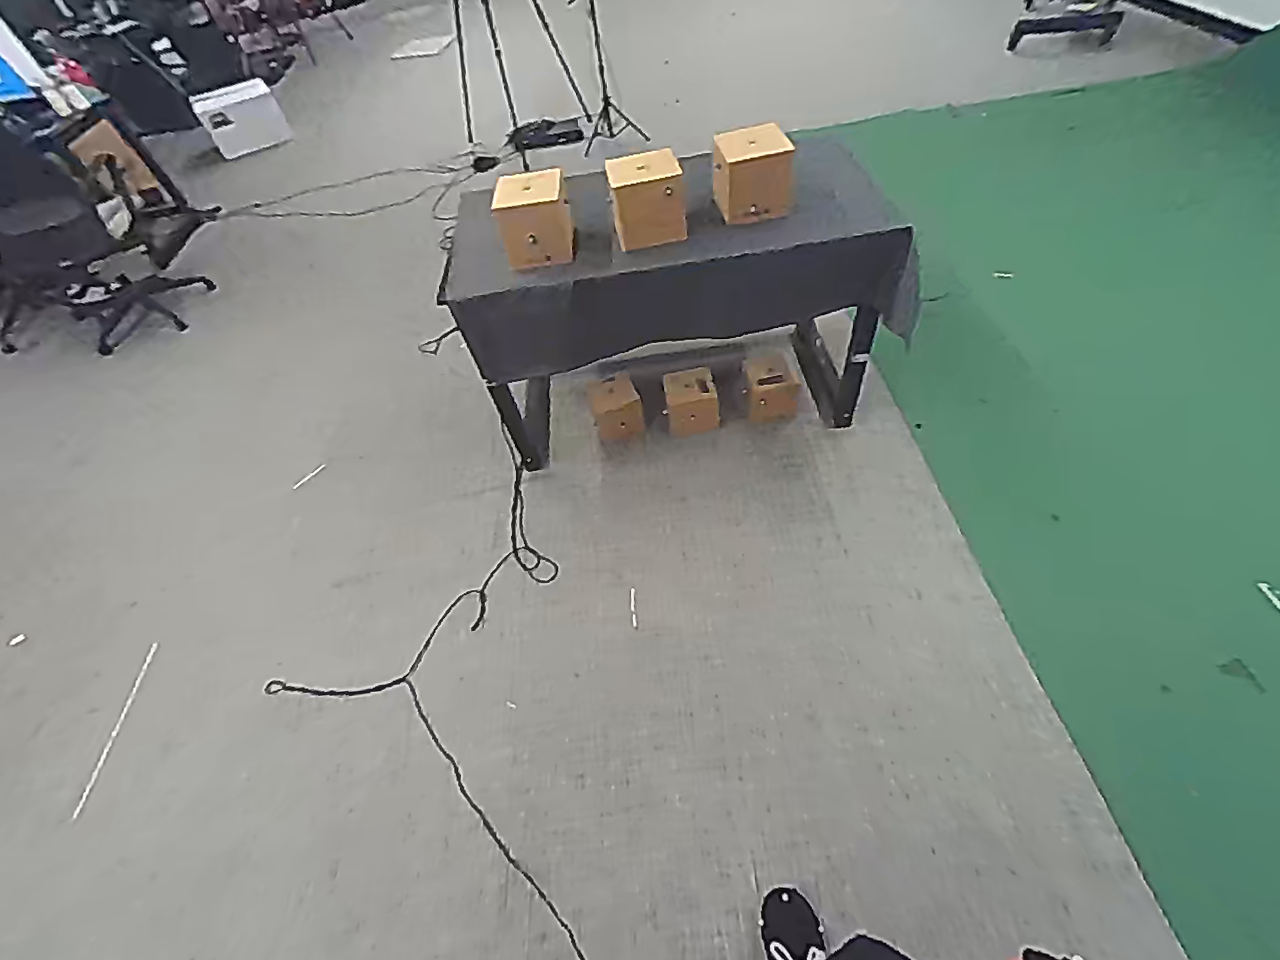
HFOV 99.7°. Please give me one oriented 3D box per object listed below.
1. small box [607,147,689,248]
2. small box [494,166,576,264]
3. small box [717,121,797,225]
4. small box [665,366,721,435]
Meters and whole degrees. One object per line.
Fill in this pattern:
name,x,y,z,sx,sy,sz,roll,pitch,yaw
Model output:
small box,0.023,-0.723,1.393,0.179,0.176,0.168,-11,52,0
small box,-0.263,-0.677,1.398,0.168,0.176,0.179,-6,52,4
small box,0.296,-0.793,1.402,0.168,0.176,0.179,-10,52,2
small box,0.191,-0.284,1.950,0.179,0.176,0.168,-10,52,3
